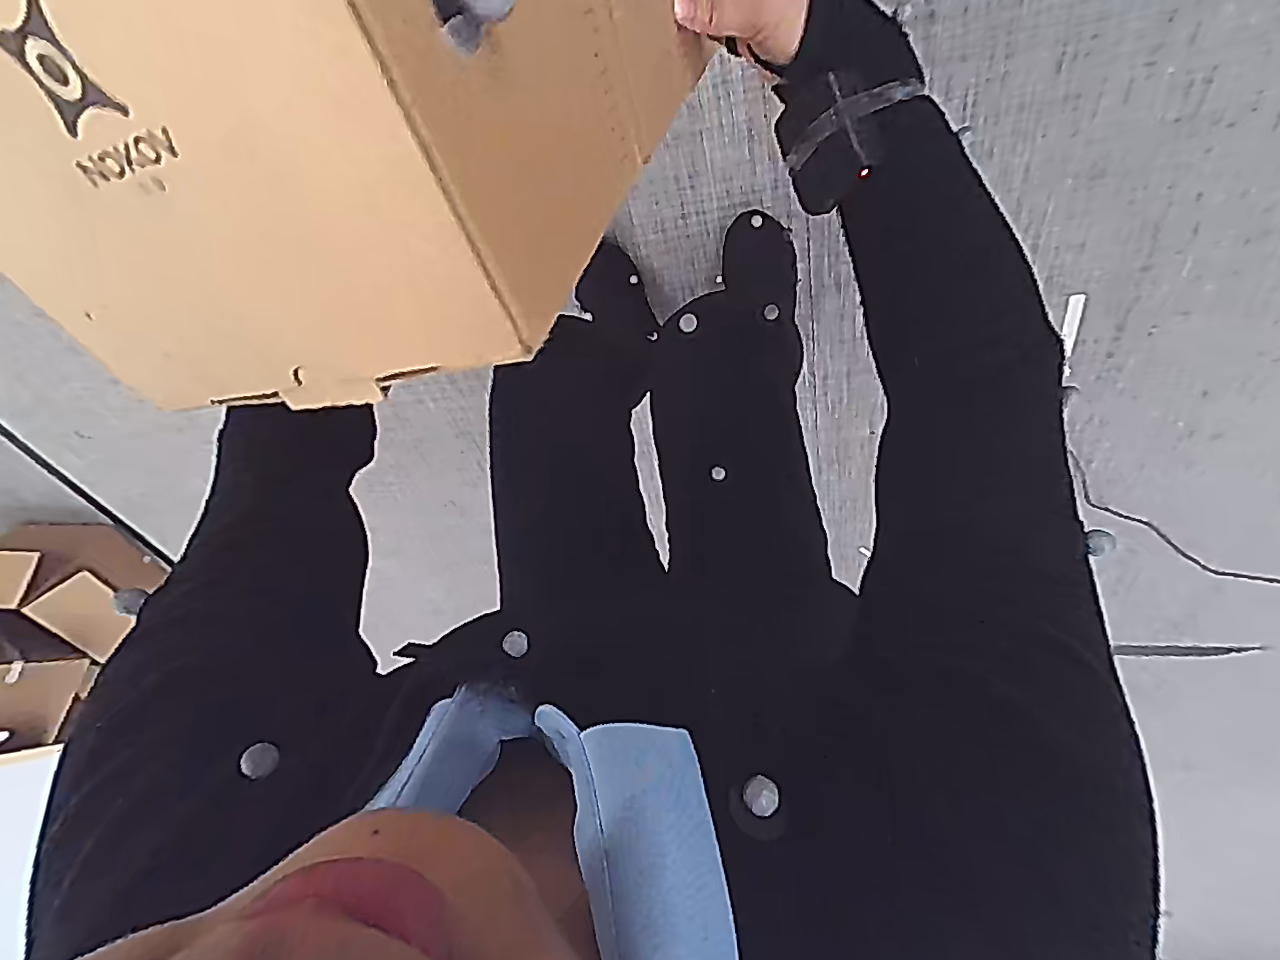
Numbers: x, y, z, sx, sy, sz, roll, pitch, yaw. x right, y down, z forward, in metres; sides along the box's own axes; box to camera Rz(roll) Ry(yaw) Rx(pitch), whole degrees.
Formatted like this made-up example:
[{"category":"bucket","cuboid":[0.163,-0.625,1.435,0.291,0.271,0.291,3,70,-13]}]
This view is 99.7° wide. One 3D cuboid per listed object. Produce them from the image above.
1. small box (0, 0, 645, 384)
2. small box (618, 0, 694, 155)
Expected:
[{"category":"small box","cuboid":[-0.108,-0.159,0.178,0.168,0.176,0.179,-4,135,19]},{"category":"small box","cuboid":[-0.073,-0.277,0.286,0.168,0.176,0.179,-4,134,18]}]
